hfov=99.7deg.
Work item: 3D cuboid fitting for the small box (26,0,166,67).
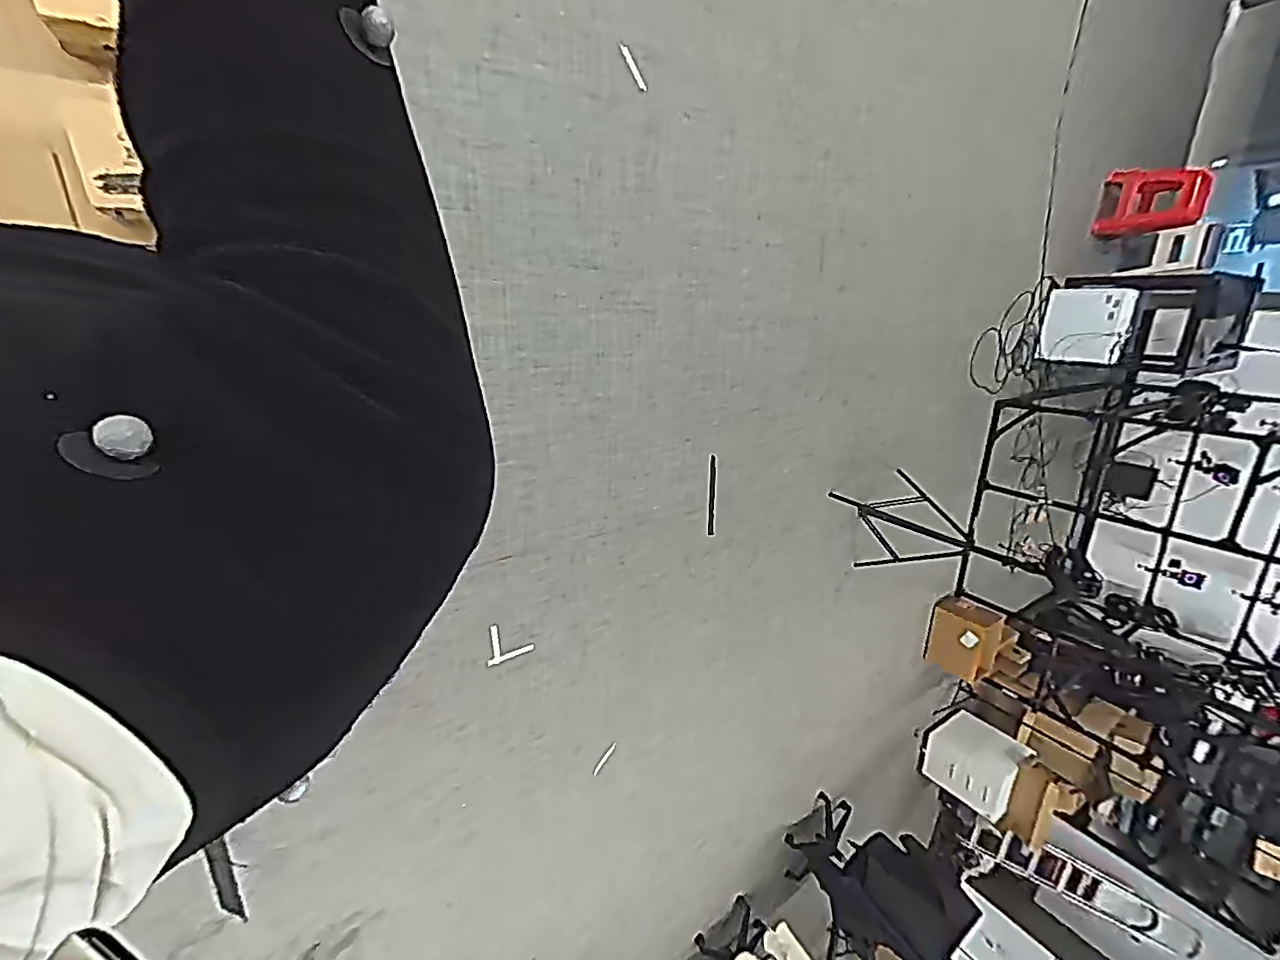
[{"bbox_3d":[-0.992,-0.887,0.972,0.168,0.176,0.179,-16,114,-30],"label":"small box"}]
